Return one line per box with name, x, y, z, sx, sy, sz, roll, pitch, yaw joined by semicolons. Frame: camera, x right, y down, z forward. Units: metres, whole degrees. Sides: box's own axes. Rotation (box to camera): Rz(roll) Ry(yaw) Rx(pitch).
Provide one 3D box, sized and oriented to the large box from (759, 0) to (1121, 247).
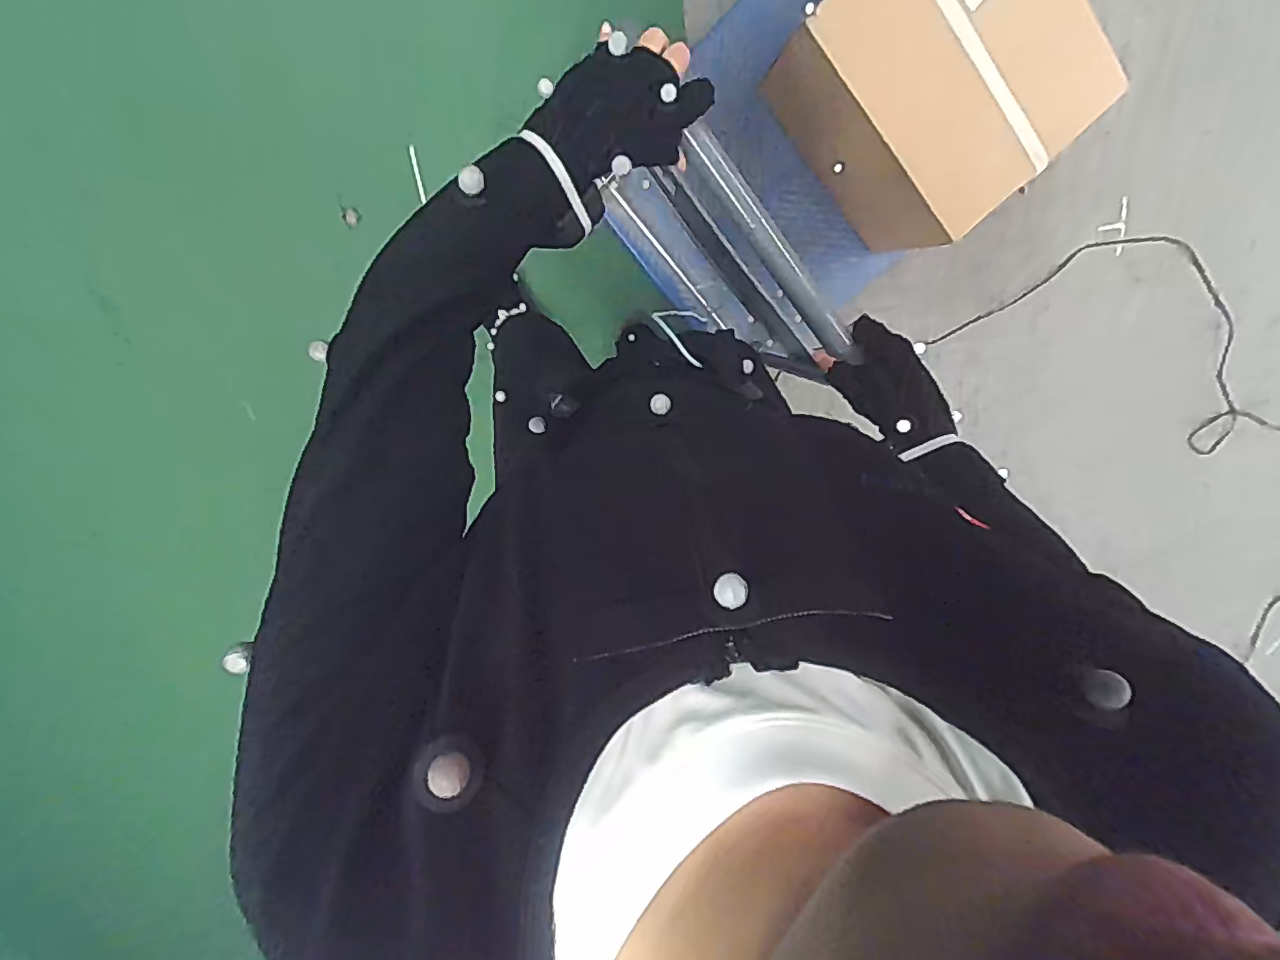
large box;0.474;-0.674;0.933;0.320;0.320;0.408;-43;105;12
